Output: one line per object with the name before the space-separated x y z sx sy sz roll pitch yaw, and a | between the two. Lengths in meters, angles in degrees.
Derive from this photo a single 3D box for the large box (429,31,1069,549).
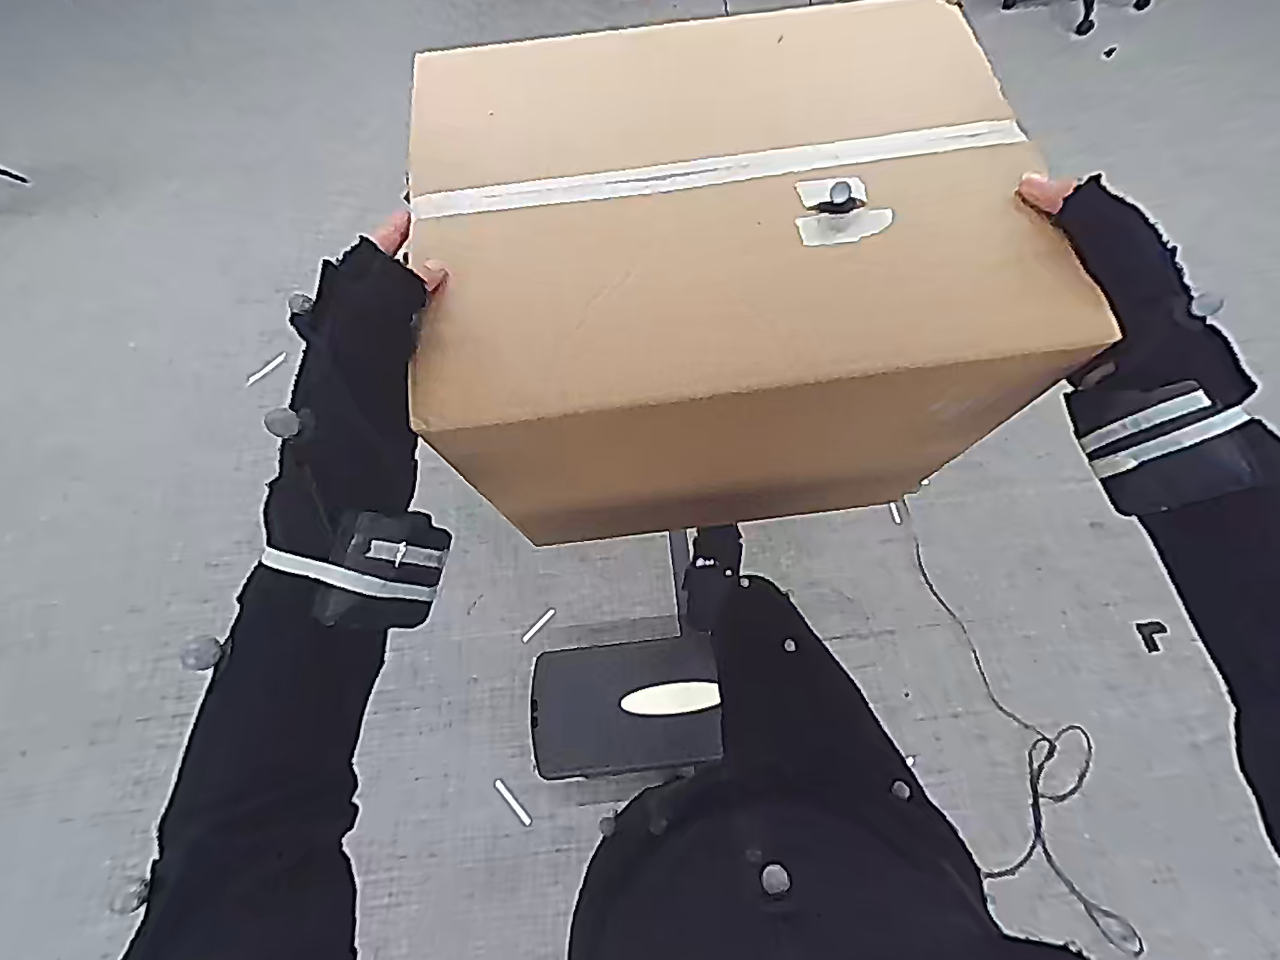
large box | 0.053 -0.142 0.519 0.408 0.320 0.320 -8 70 -1
